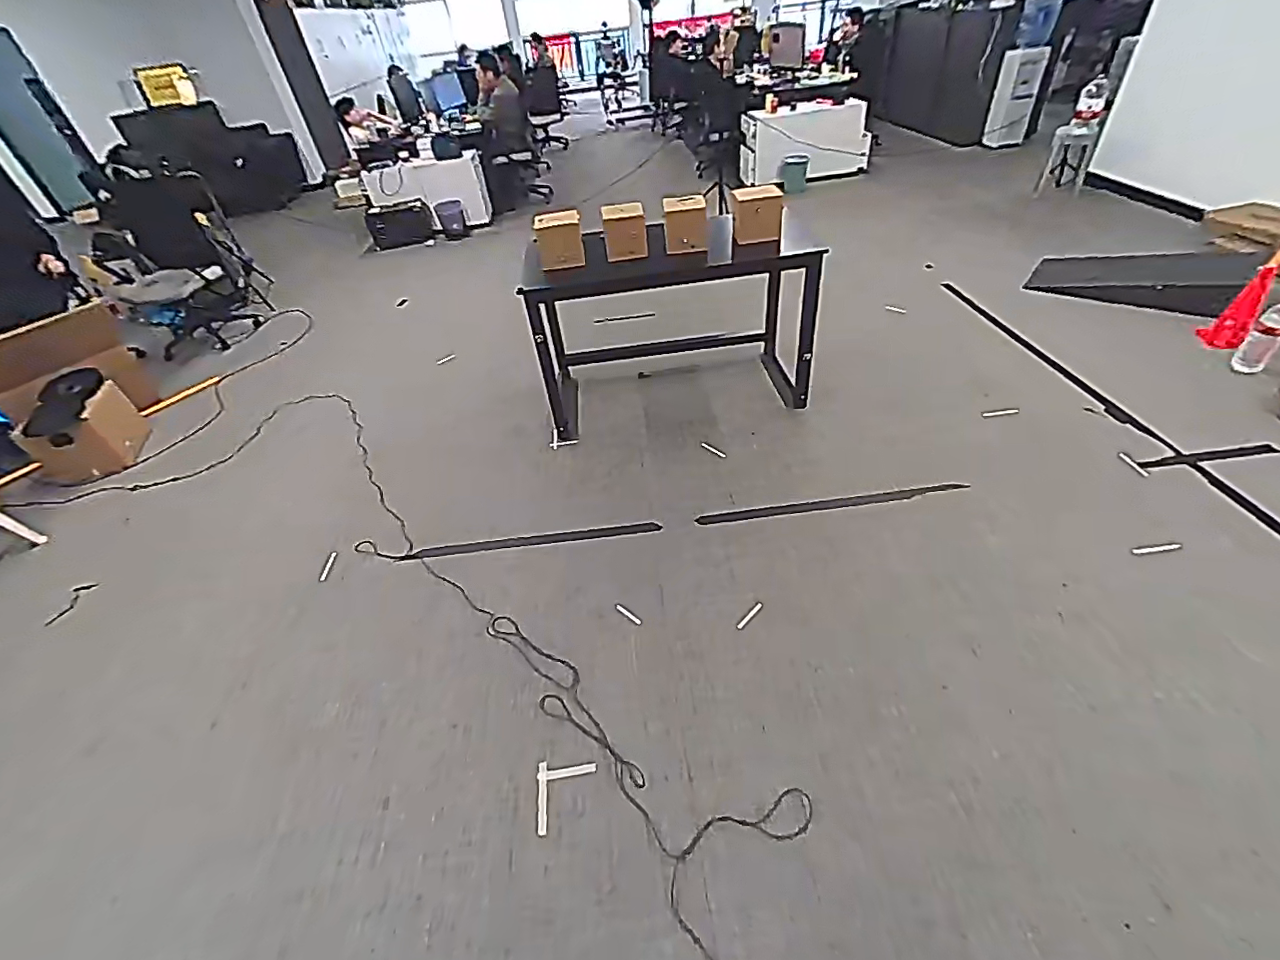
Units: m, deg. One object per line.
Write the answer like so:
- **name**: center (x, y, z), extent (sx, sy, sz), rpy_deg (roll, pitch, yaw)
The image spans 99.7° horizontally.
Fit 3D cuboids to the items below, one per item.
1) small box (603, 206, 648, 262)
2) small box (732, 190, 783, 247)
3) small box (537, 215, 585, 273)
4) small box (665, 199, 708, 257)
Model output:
- **small box**: center (-0.060, -1.006, 2.226), extent (0.168, 0.176, 0.179), rpy_deg (-7, 40, -1)
- **small box**: center (0.477, -1.065, 2.209), extent (0.179, 0.176, 0.168), rpy_deg (-6, 41, 2)
- **small box**: center (-0.320, -0.969, 2.219), extent (0.179, 0.176, 0.168), rpy_deg (-8, 41, -2)
- **small box**: center (0.188, -1.030, 2.213), extent (0.168, 0.176, 0.179), rpy_deg (-5, 42, 3)
